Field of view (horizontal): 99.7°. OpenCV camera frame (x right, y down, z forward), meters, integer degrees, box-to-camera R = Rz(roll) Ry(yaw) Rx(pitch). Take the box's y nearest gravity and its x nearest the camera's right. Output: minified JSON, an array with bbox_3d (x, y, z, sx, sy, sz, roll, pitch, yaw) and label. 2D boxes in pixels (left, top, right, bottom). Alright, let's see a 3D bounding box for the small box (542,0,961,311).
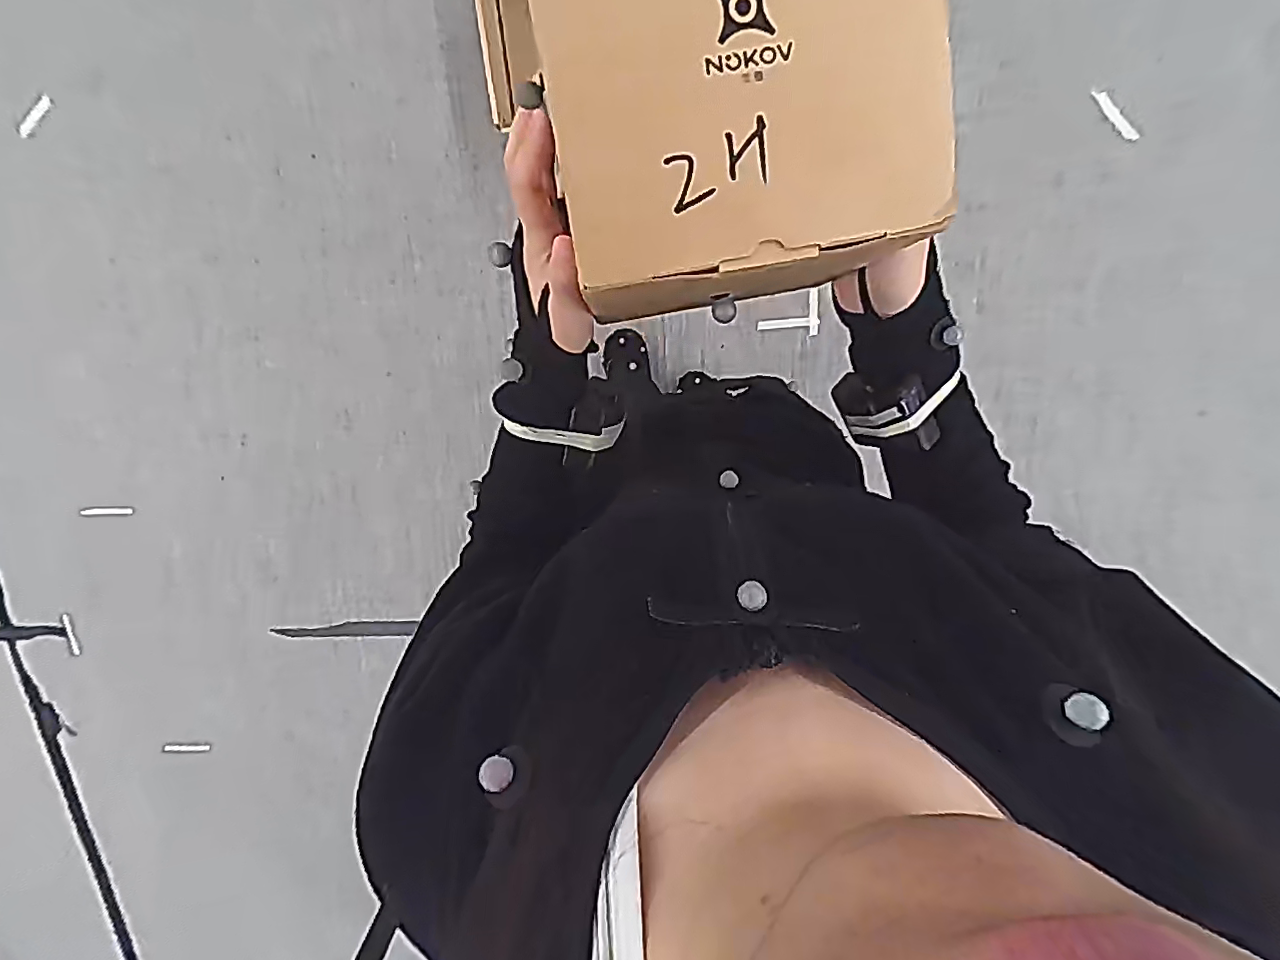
[{"bbox_3d":[0.040,-0.201,0.292,0.168,0.176,0.179,-10,102,0],"label":"small box"}]
